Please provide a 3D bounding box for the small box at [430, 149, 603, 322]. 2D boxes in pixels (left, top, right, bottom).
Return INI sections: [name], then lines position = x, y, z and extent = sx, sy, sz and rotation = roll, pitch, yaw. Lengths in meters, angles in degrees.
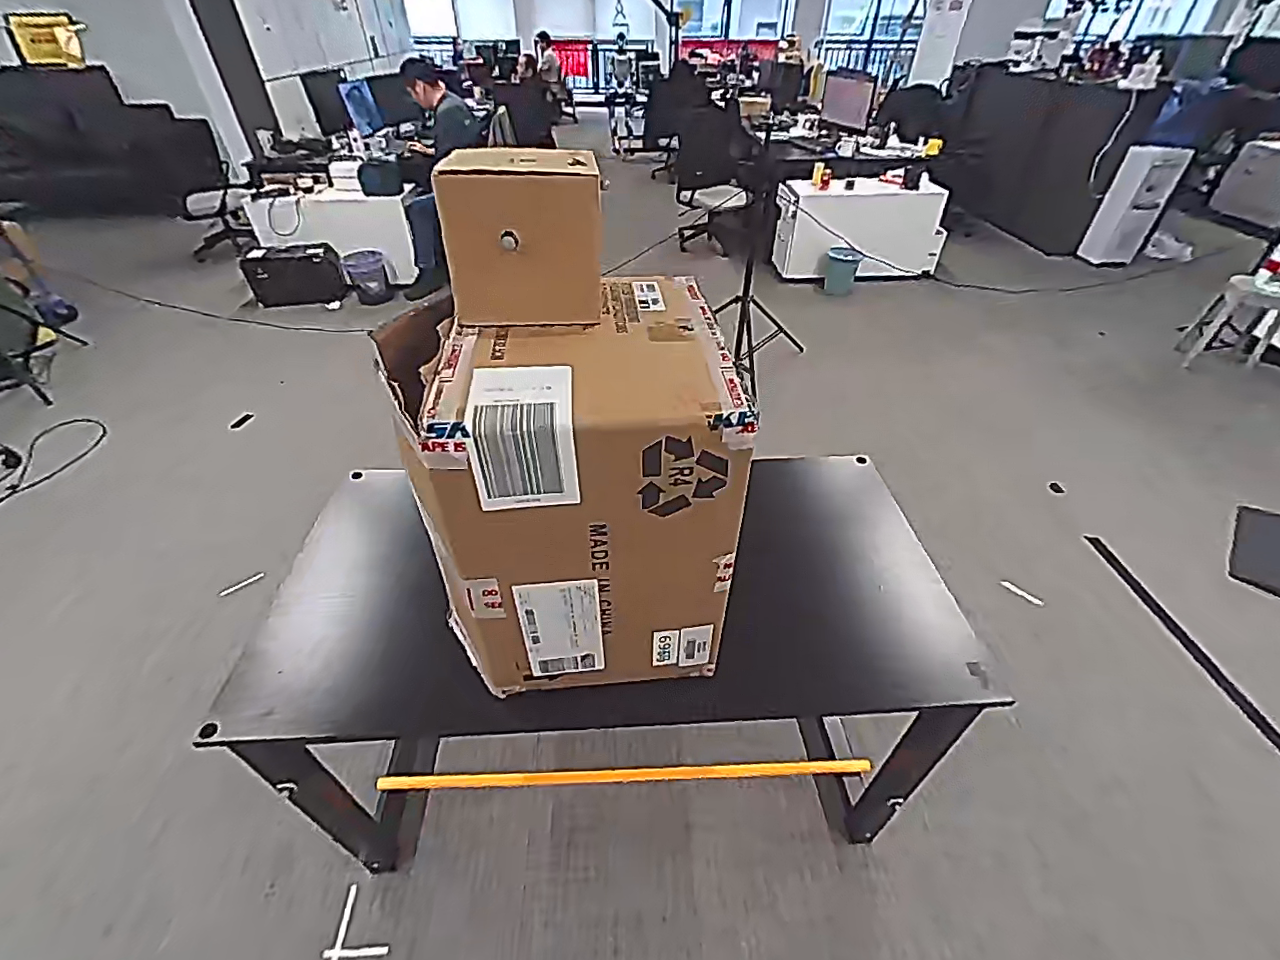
[small box]
position = -0.140, -0.304, 0.674
extent = 0.179, 0.176, 0.168
rotation = -3, 39, -6
